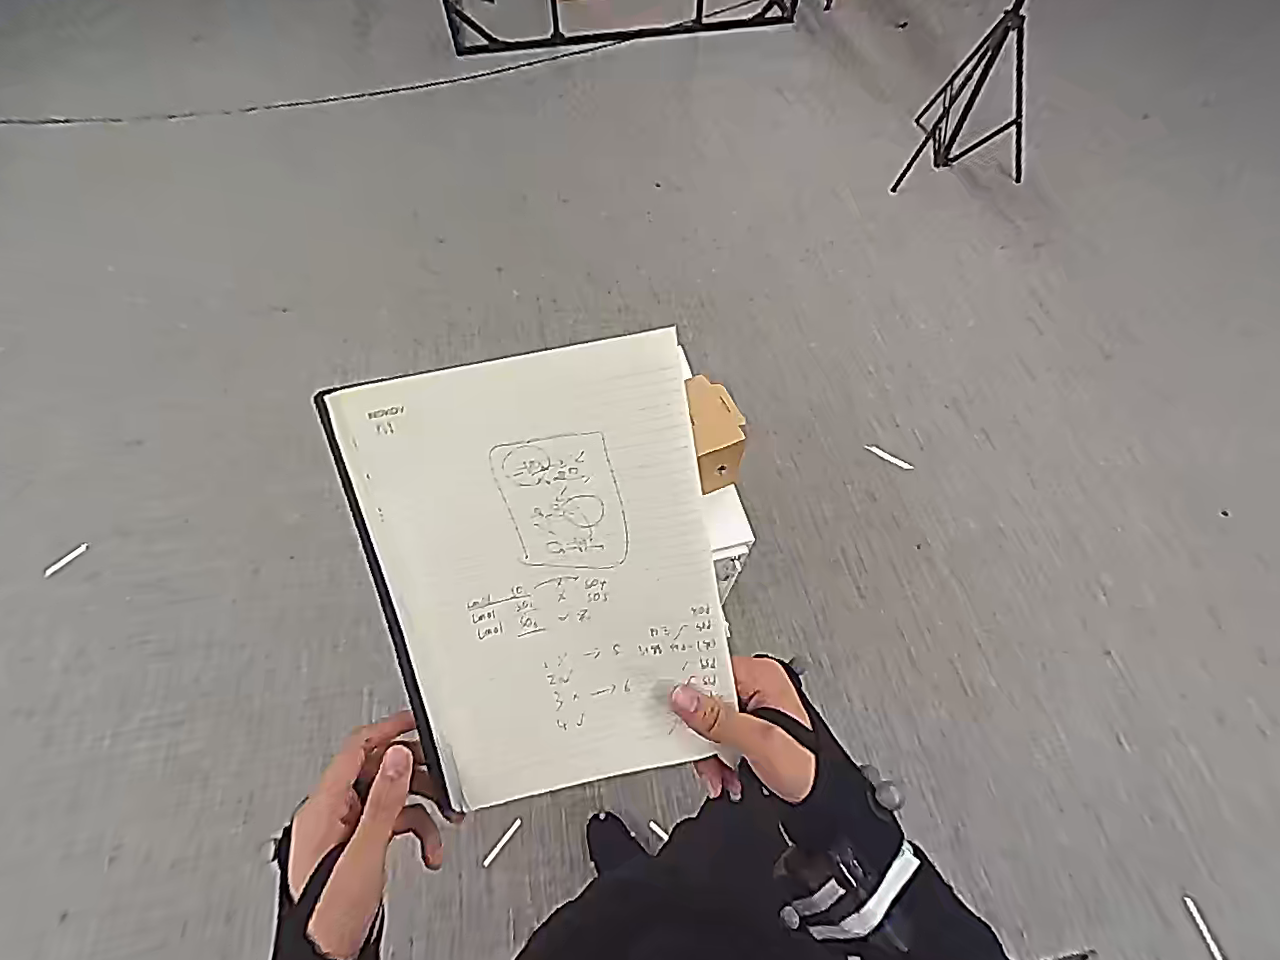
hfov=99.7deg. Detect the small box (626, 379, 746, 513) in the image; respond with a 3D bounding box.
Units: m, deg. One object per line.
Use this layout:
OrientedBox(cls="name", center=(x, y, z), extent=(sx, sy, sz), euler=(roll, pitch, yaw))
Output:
OrientedBox(cls="small box", center=(0.081, -0.061, 1.046), extent=(0.179, 0.176, 0.168), euler=(-20, 63, -10))
